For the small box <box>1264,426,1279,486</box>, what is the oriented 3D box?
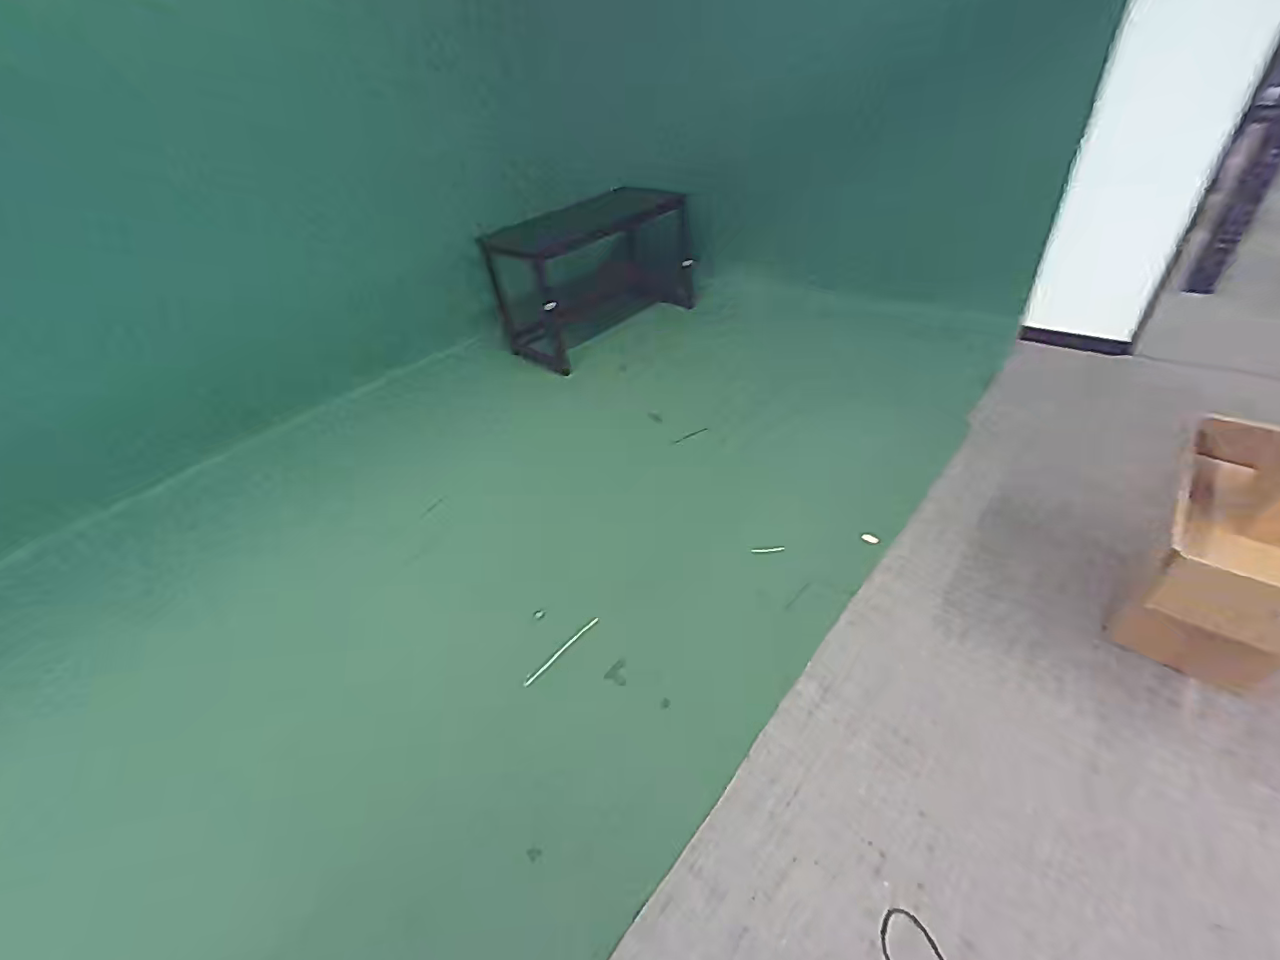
[{"bbox_3d":[1.522,-0.066,1.174,0.168,0.176,0.179,19,49,30],"label":"small box"}]
